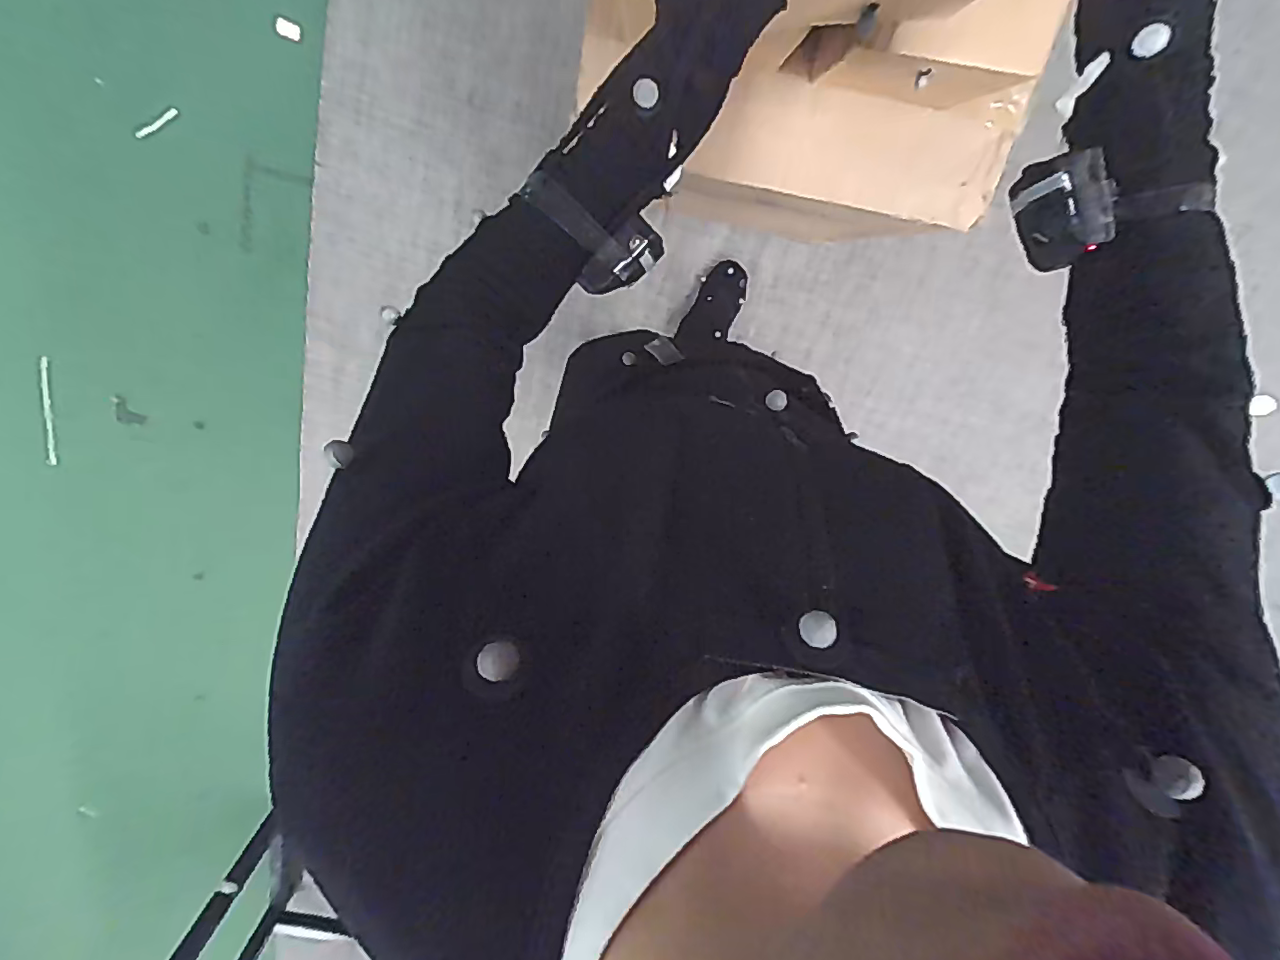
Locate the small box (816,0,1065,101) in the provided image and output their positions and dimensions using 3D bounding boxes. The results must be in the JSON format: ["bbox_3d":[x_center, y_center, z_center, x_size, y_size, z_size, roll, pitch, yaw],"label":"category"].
[{"bbox_3d":[0.294,-0.494,0.532,0.179,0.176,0.168,7,117,-3],"label":"small box"}]

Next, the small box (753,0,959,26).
[{"bbox_3d":[0.185,-0.446,0.376,0.179,0.176,0.168,-3,116,1],"label":"small box"}]

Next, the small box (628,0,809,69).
[{"bbox_3d":[0.083,-0.525,0.521,0.179,0.176,0.168,8,116,-3],"label":"small box"}]
